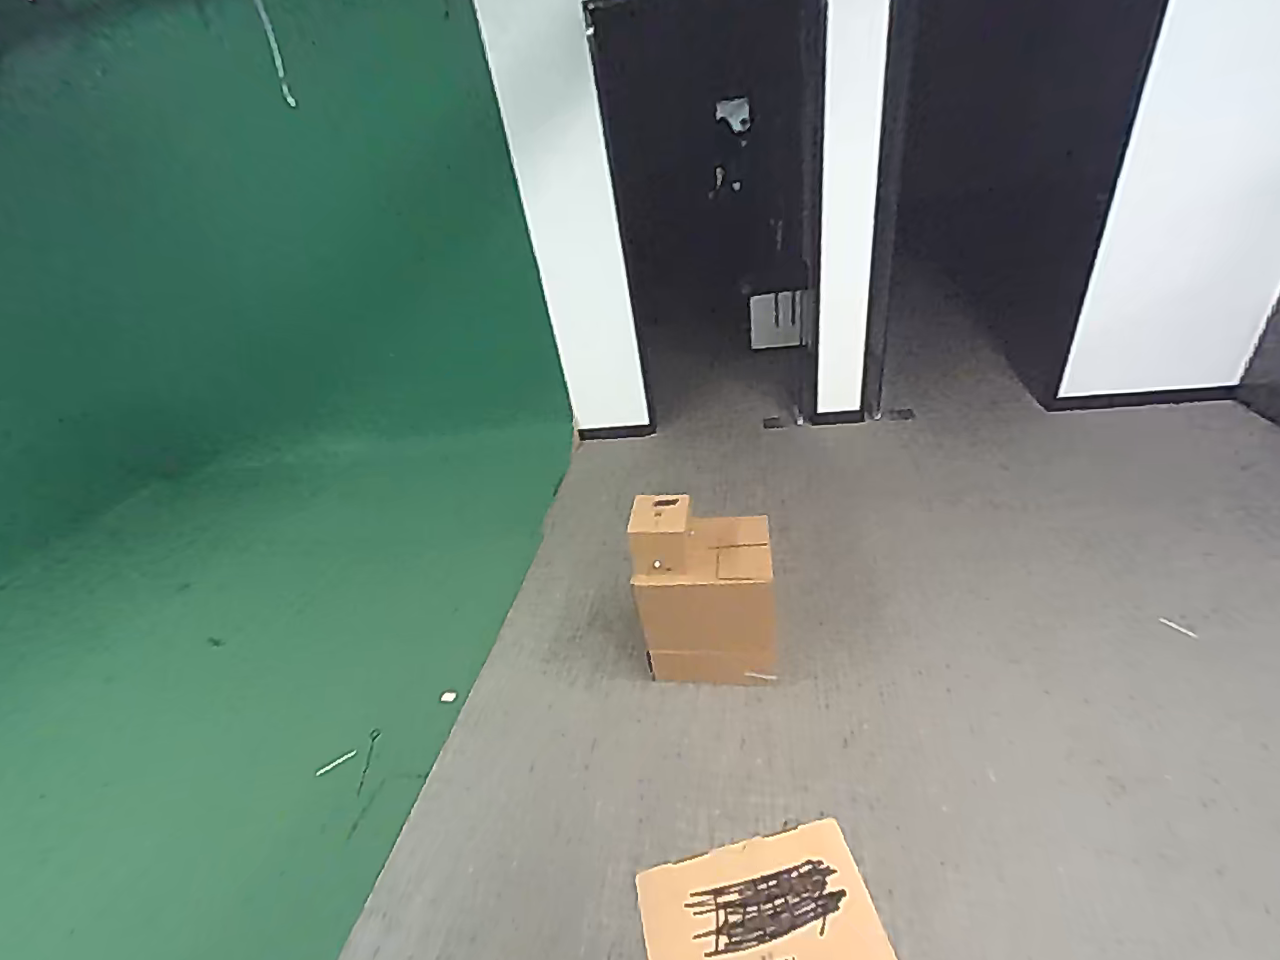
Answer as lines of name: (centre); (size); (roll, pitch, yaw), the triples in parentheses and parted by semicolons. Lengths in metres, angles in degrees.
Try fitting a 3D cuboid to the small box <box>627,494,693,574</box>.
small box: (0.066, 0.159, 1.619); (0.168, 0.176, 0.179); (-1, 36, 12)
